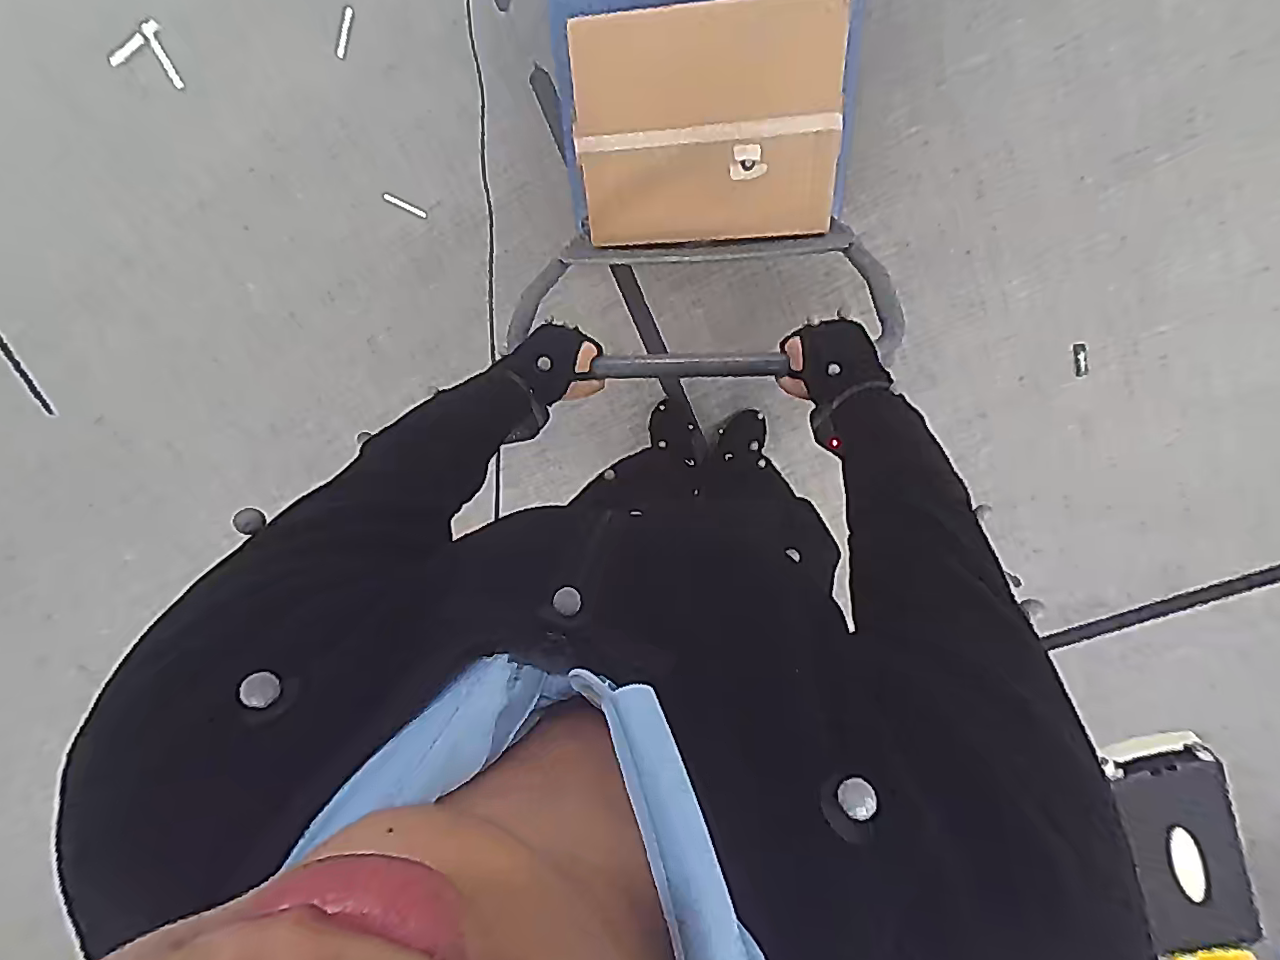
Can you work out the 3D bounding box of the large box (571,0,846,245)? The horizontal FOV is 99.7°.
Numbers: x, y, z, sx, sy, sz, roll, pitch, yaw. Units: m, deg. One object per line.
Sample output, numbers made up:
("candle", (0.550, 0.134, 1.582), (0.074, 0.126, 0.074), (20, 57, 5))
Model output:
("large box", (0.120, -0.631, 0.981), (0.408, 0.320, 0.320), (-1, 122, 8))
